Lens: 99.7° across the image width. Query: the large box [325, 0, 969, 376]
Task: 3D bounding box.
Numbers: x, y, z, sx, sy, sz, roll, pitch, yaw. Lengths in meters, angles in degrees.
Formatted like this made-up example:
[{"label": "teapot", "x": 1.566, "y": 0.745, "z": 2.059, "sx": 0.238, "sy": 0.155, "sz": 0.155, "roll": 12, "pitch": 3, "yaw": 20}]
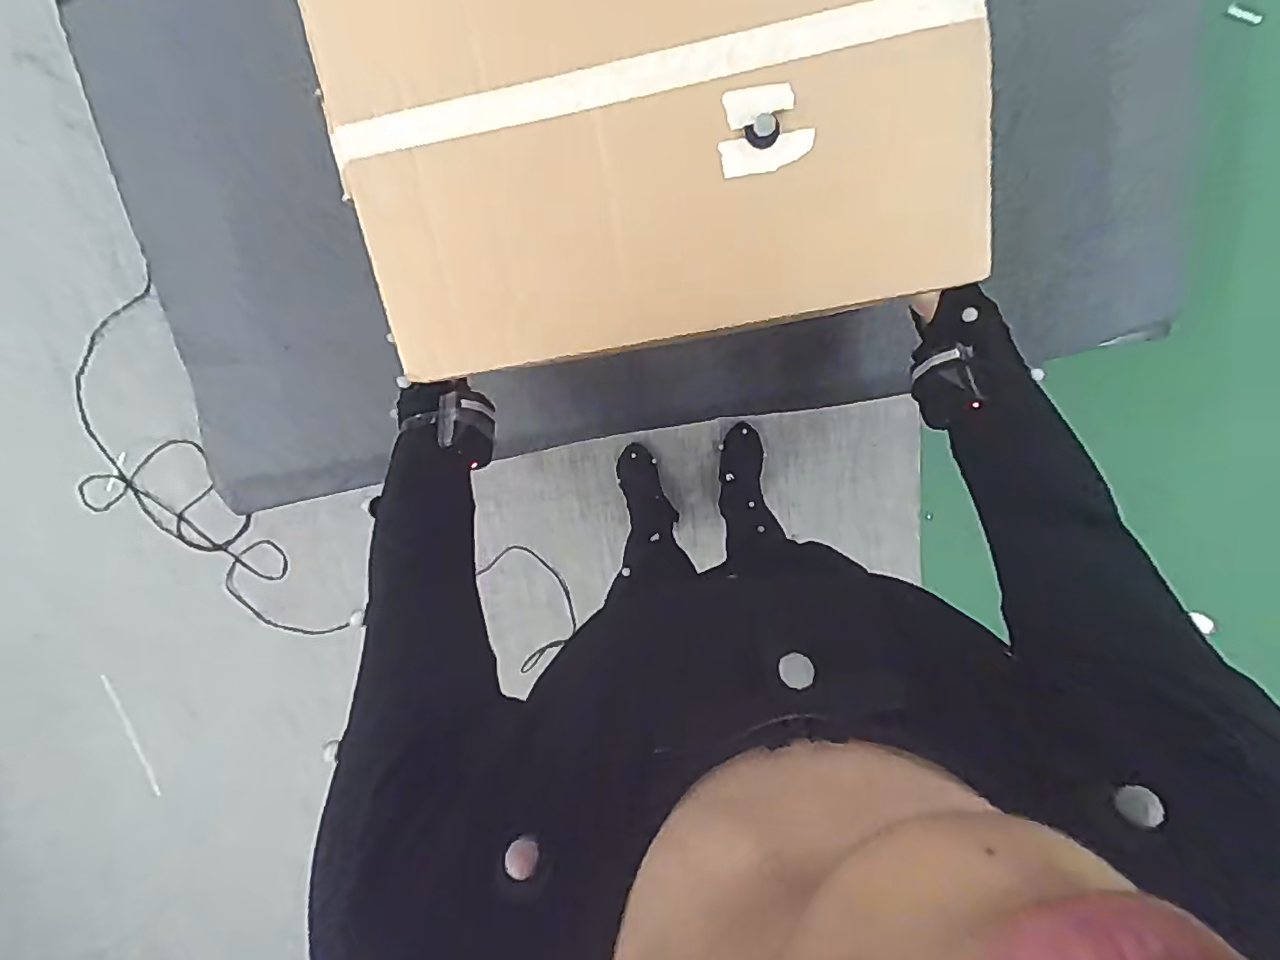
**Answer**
[{"label": "large box", "x": 0.010, "y": -0.291, "z": 0.501, "sx": 0.408, "sy": 0.320, "sz": 0.320, "roll": -9, "pitch": 103, "yaw": 4}]
